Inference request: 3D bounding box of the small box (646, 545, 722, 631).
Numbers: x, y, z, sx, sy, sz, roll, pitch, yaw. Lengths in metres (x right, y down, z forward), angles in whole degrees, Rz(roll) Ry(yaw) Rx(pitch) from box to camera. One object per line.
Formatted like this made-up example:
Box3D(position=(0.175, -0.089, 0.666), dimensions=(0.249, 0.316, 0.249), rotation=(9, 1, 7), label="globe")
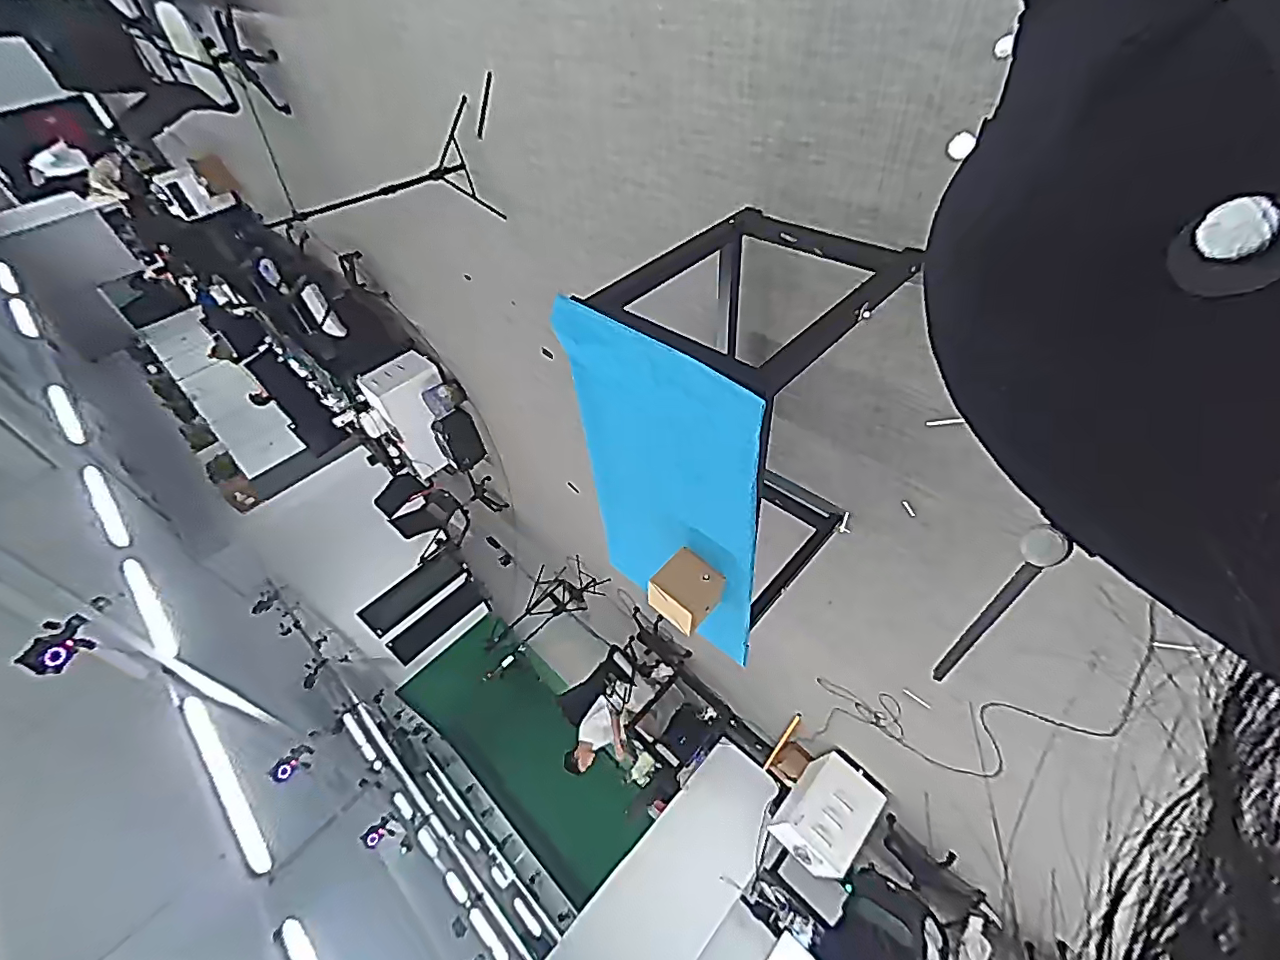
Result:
Box3D(position=(0.140, 0.351, 1.731), dimensions=(0.179, 0.176, 0.168), rotation=(35, 149, 26), label="small box")
